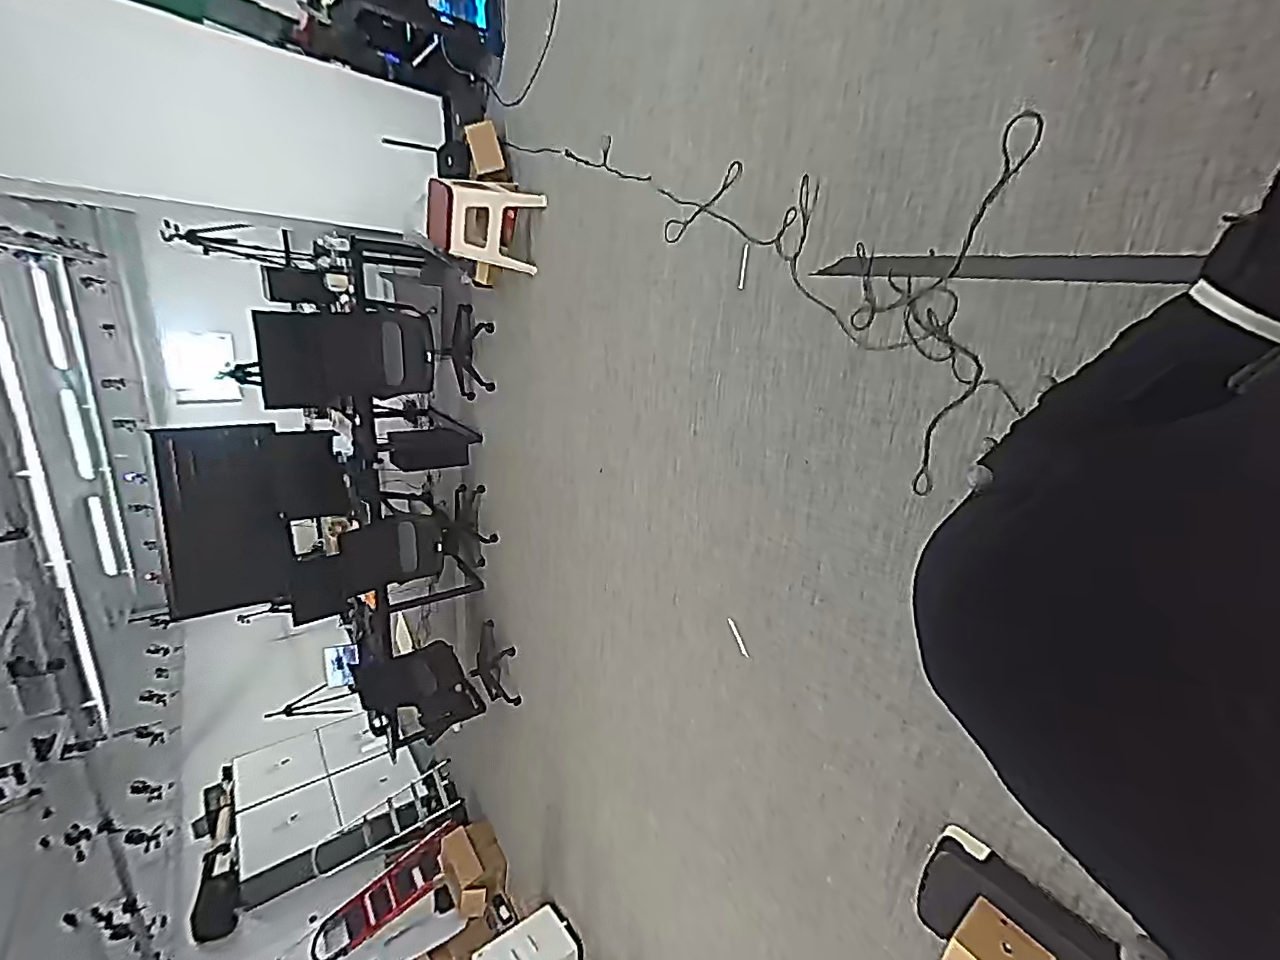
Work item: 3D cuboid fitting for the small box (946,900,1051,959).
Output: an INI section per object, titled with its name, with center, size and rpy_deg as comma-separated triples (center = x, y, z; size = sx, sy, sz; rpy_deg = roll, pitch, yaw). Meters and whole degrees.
[small box]
center = 0.829, 1.144, 1.258
size = 0.168, 0.176, 0.179
rpy_deg = 30, 121, 46
